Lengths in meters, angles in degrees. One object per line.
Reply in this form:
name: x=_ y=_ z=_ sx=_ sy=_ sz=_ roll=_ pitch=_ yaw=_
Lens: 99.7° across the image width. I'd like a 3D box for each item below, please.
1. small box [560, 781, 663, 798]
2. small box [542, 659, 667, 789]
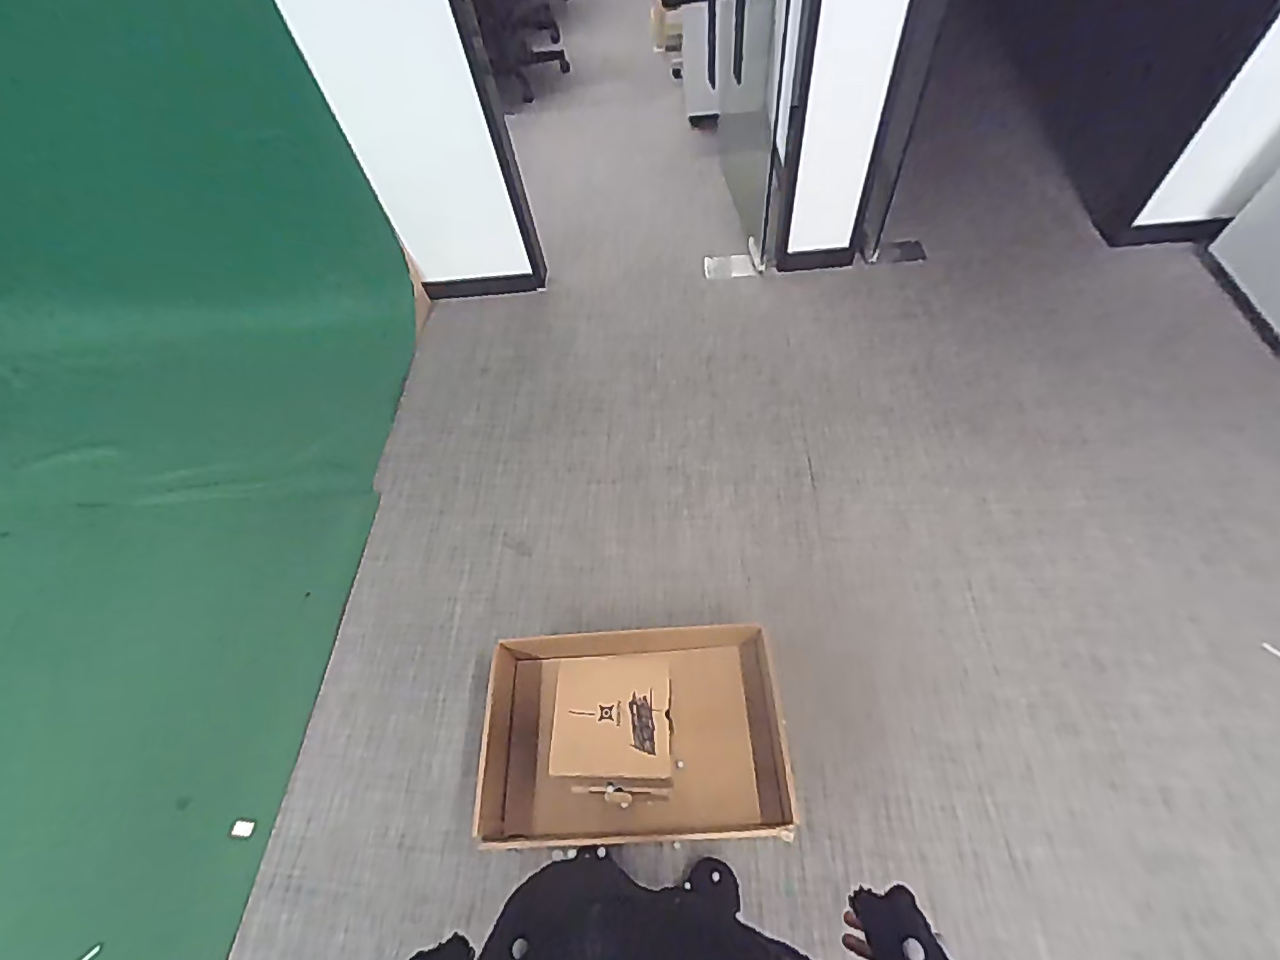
small box: x=-0.043 y=0.484 z=0.998 sx=0.168 sy=0.176 sz=0.179 roll=-1 pitch=57 yaw=4
small box: x=-0.045 y=0.398 z=0.877 sx=0.179 sy=0.176 sz=0.168 roll=-1 pitch=55 yaw=5
